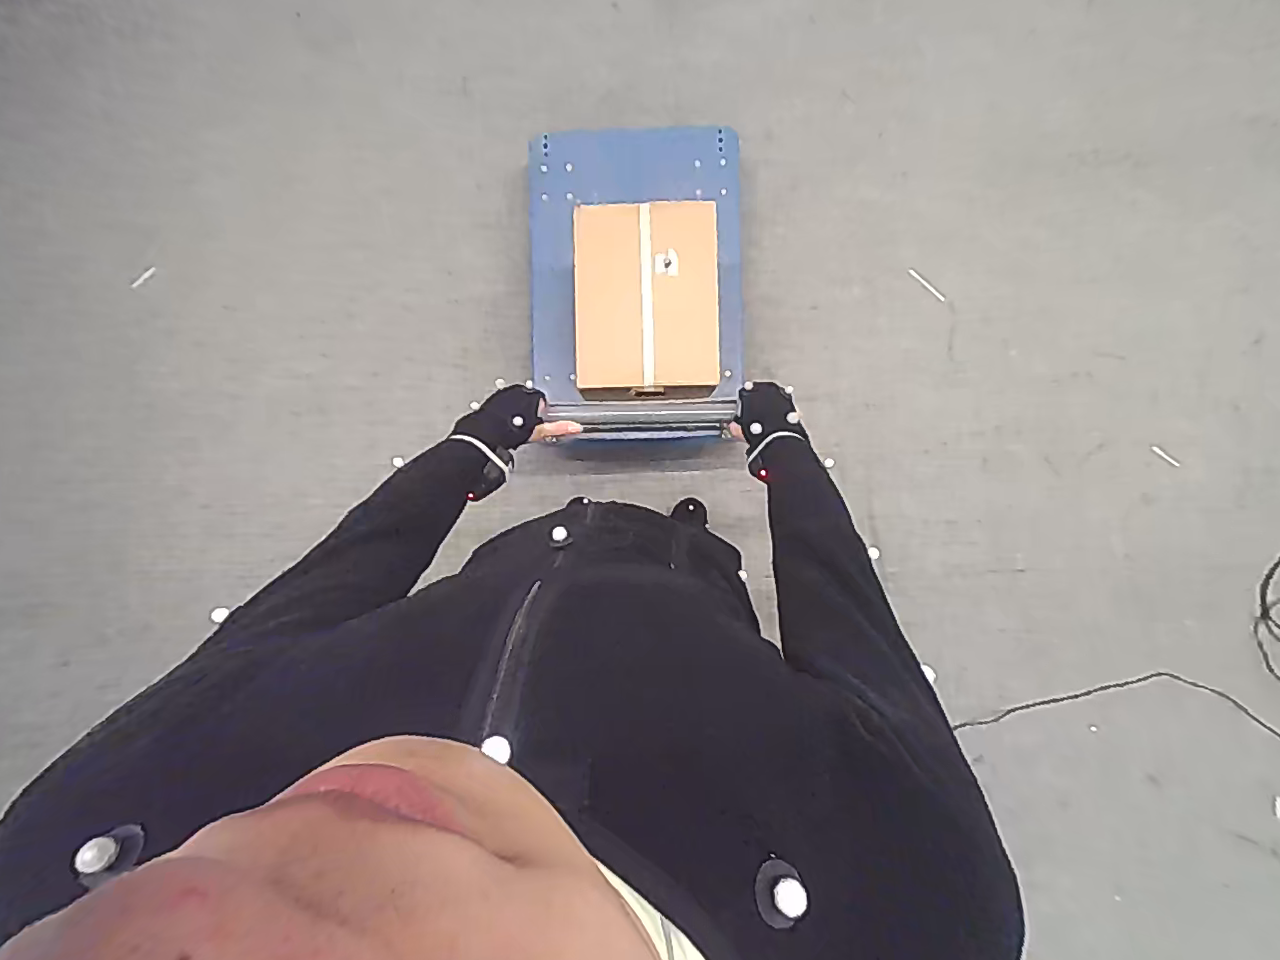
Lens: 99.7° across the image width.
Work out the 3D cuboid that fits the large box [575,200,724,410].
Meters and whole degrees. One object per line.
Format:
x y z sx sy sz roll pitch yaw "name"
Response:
0.022 -0.394 1.307 0.320 0.320 0.408 -1 88 0 "large box"
